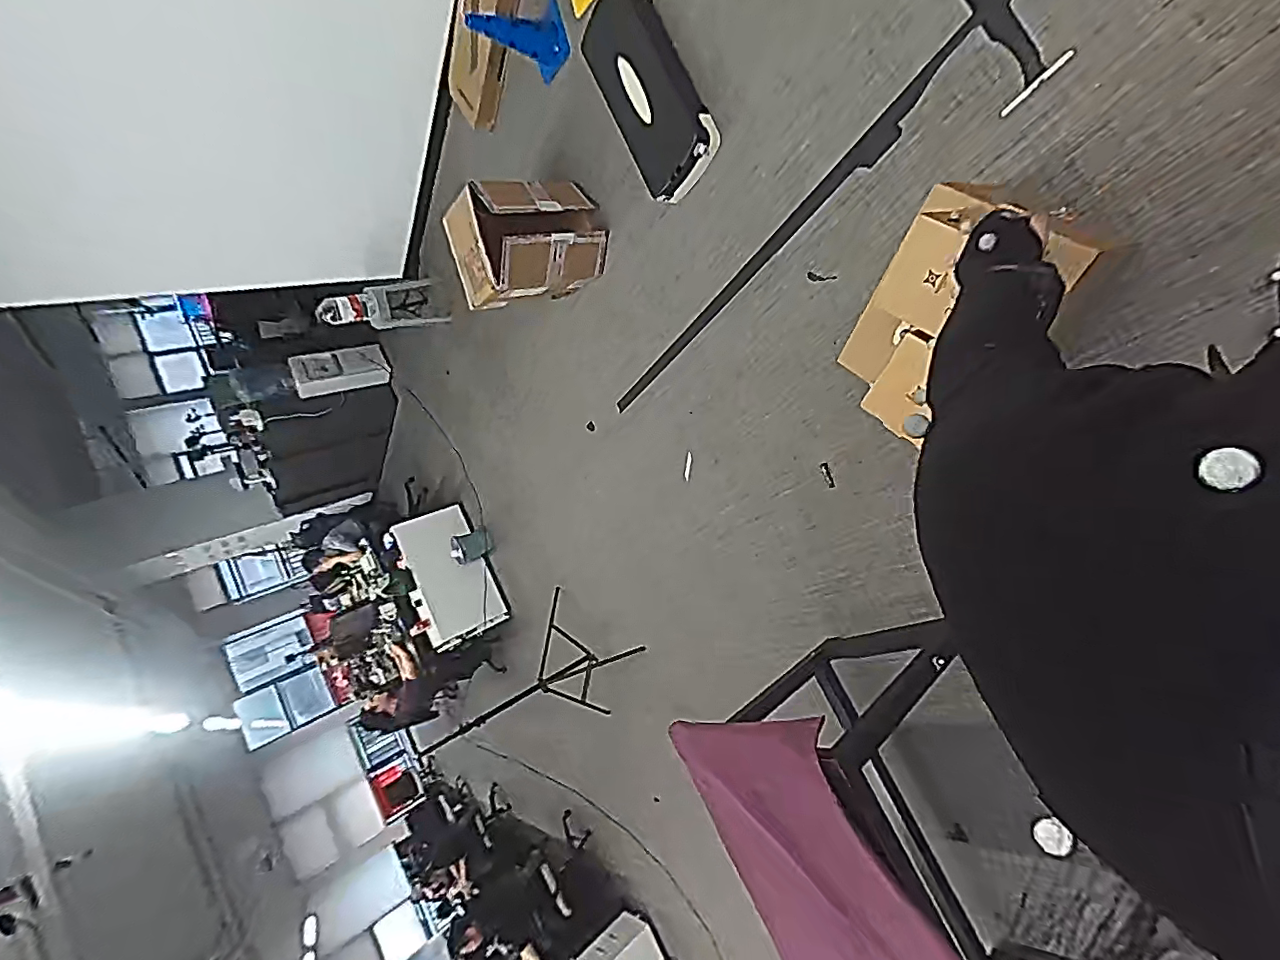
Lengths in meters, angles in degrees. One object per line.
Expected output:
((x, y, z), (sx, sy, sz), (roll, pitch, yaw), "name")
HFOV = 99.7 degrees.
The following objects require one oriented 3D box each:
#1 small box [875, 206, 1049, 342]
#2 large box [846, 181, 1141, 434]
((0.566, -0.369, 0.957), (0.179, 0.176, 0.168), (44, 139, 29), "small box")
((0.731, -0.379, 1.160), (0.320, 0.320, 0.408), (46, 140, 29), "large box")
